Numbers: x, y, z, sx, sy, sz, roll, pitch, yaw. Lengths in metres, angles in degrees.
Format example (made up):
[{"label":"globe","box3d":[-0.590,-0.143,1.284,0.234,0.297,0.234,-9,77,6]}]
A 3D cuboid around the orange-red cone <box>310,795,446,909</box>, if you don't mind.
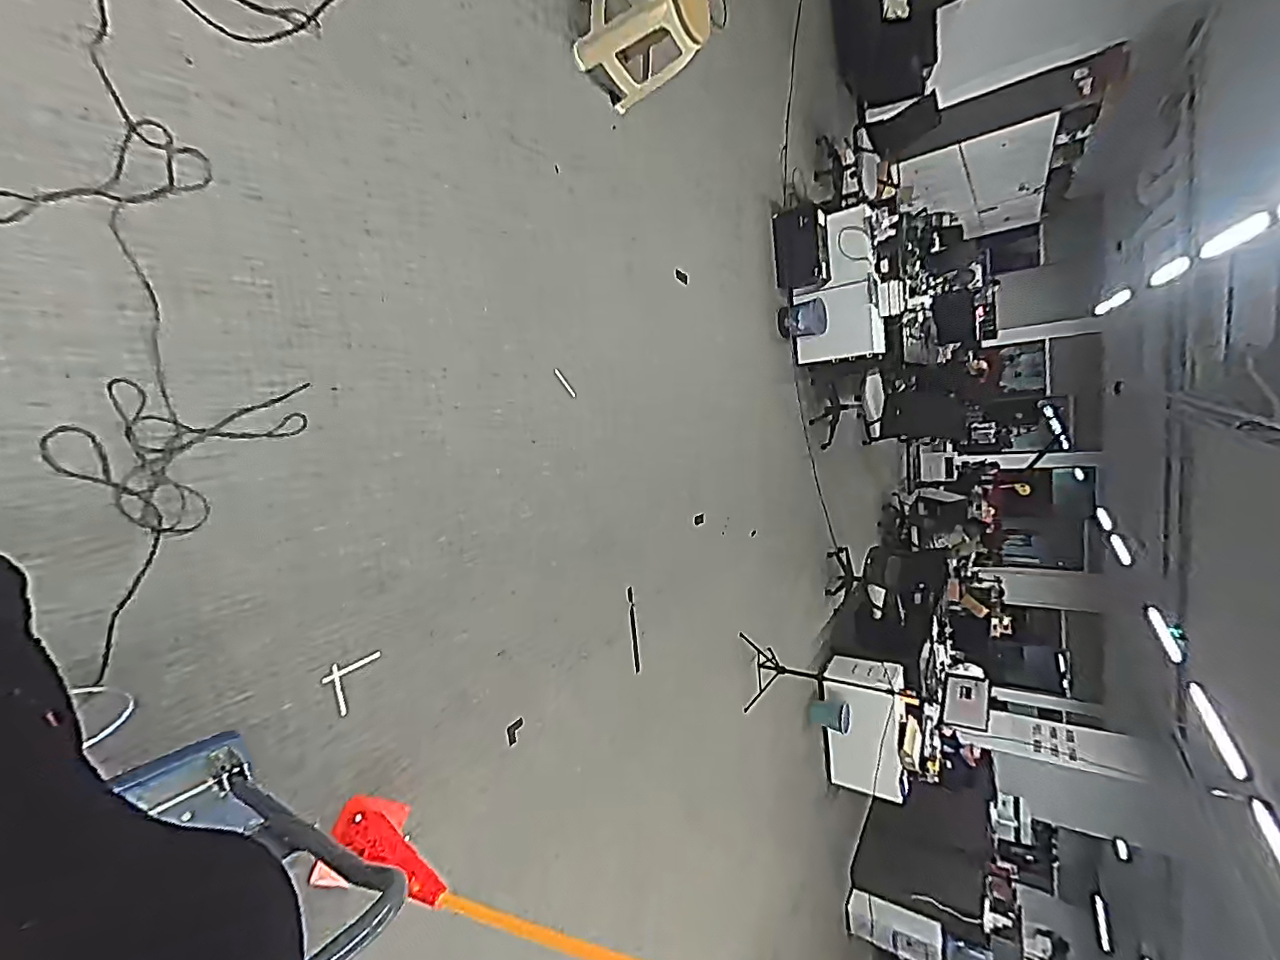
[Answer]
[{"label":"orange-red cone","box3d":[-0.589,0.944,1.310,0.198,0.360,0.199,50,52,-41]}]
